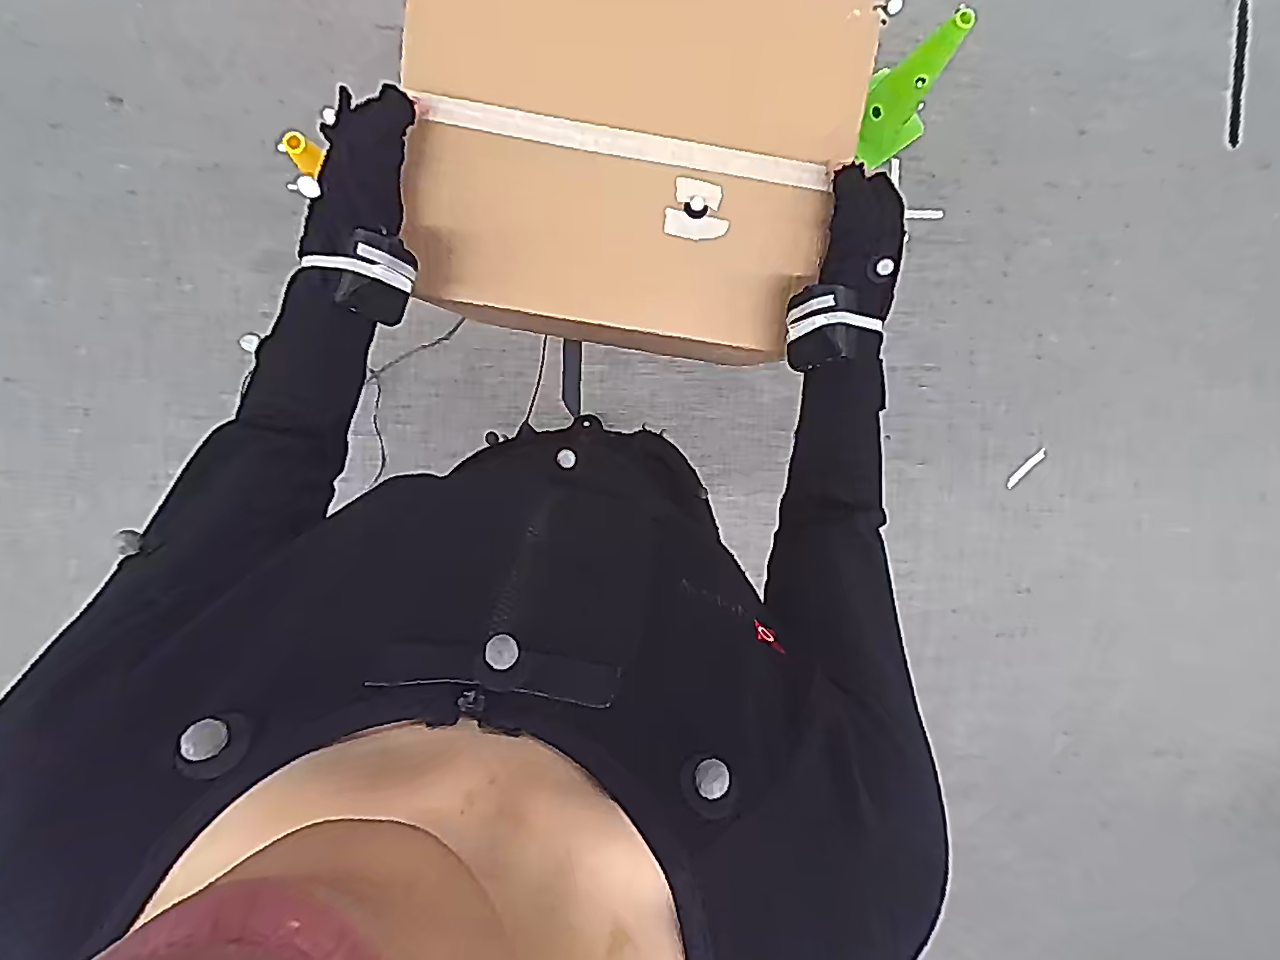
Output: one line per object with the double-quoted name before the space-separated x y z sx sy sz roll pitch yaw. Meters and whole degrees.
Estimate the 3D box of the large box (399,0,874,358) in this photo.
"large box" -0.017 -0.331 0.634 0.408 0.320 0.320 8 100 -4

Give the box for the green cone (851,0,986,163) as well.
"green cone" 0.658 -0.960 1.265 0.202 0.368 0.200 -37 97 -2
